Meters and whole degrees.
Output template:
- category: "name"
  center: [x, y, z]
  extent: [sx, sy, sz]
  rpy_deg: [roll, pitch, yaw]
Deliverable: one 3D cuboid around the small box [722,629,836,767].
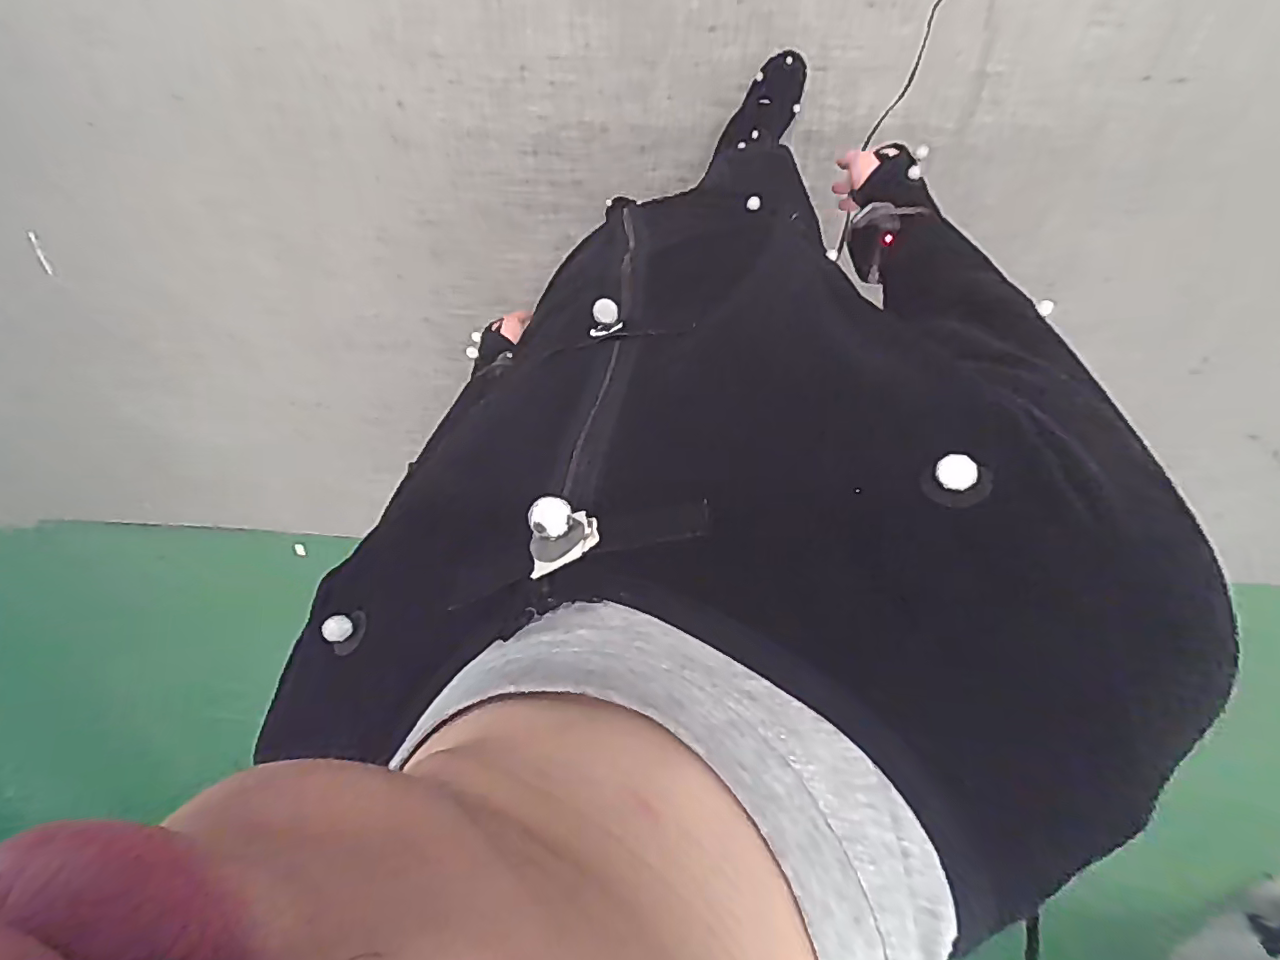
- category: "small box"
  center: [0.246, 0.403, 1.008]
  extent: [0.168, 0.176, 0.179]
  rpy_deg: [0, 120, 1]
